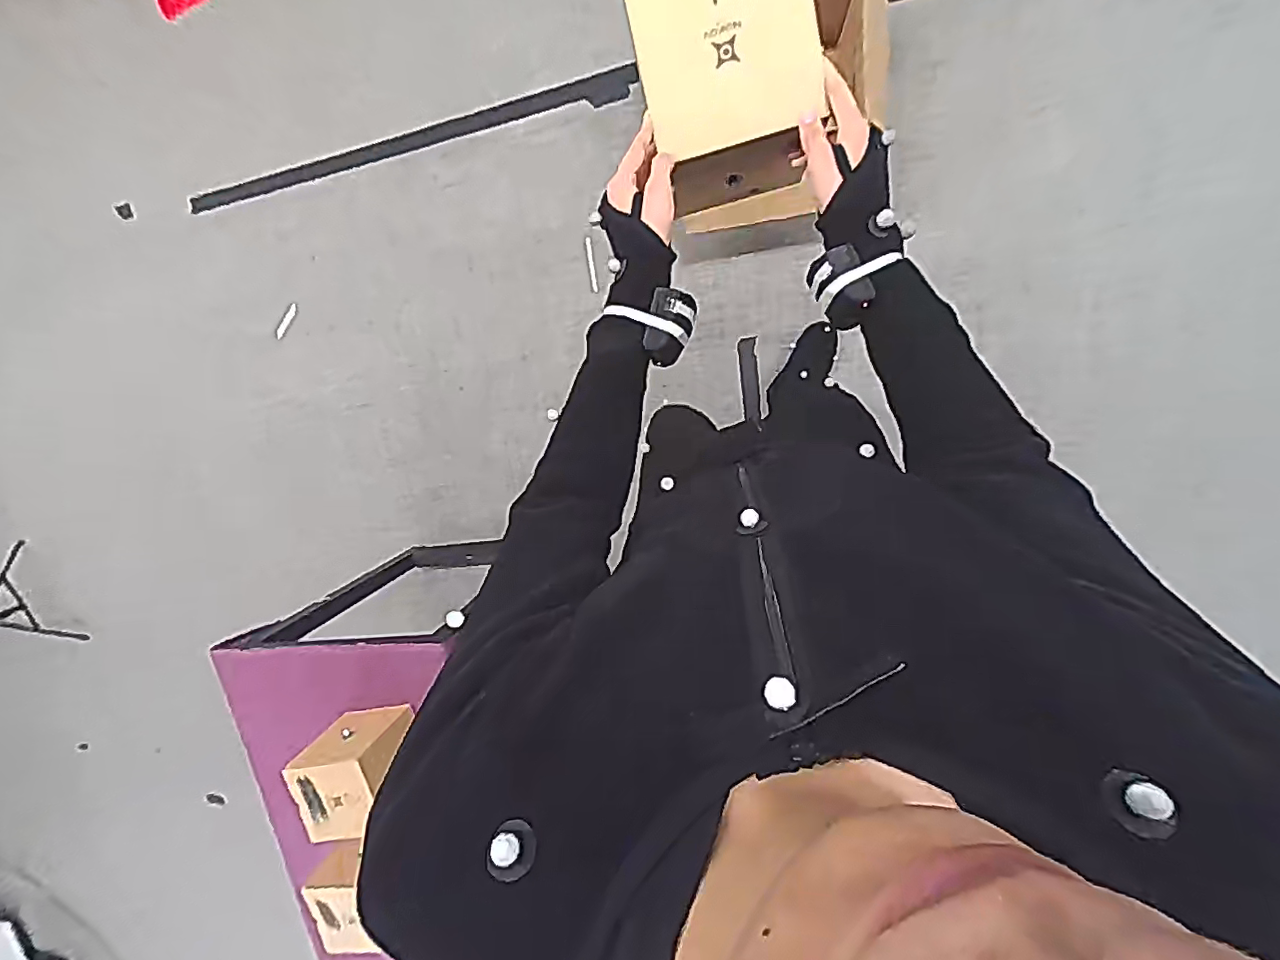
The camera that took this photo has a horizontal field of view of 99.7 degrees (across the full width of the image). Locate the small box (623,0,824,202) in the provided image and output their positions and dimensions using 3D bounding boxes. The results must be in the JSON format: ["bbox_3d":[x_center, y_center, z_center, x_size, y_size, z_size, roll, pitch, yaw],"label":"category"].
[{"bbox_3d":[0.086,-0.425,0.584,0.168,0.176,0.179,-12,98,8],"label":"small box"}]

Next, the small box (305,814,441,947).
[{"bbox_3d":[-0.571,0.860,1.174,0.179,0.176,0.168,-12,101,14],"label":"small box"}]
